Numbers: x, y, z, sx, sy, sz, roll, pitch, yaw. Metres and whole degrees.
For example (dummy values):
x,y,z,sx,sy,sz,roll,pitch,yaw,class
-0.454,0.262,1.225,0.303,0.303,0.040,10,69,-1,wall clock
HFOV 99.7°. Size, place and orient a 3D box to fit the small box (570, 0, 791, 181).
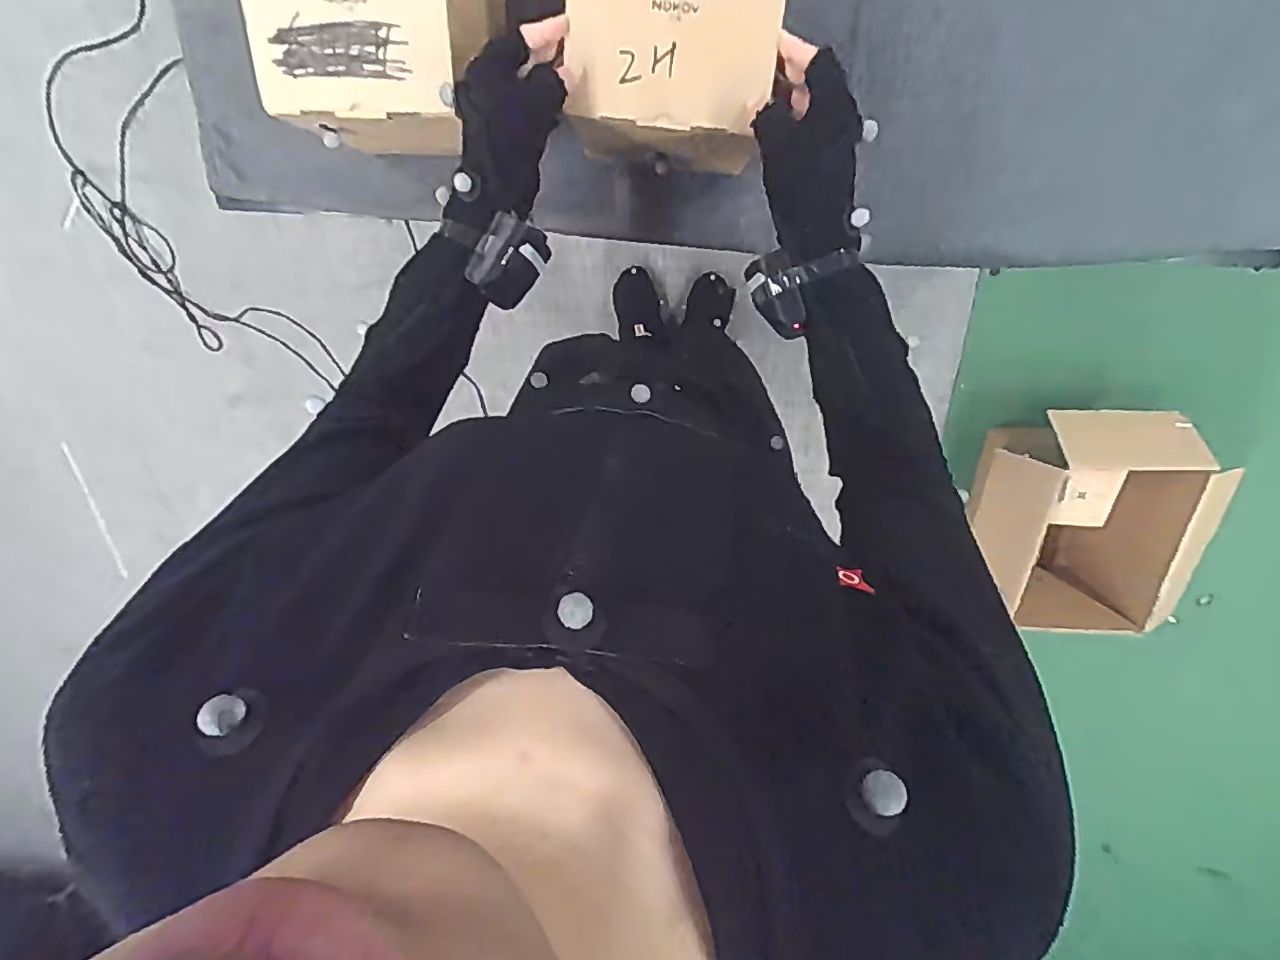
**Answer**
x,y,z,sx,sy,sz,roll,pitch,yaw,class
0.035,-0.388,0.485,0.168,0.176,0.179,6,111,1,small box
